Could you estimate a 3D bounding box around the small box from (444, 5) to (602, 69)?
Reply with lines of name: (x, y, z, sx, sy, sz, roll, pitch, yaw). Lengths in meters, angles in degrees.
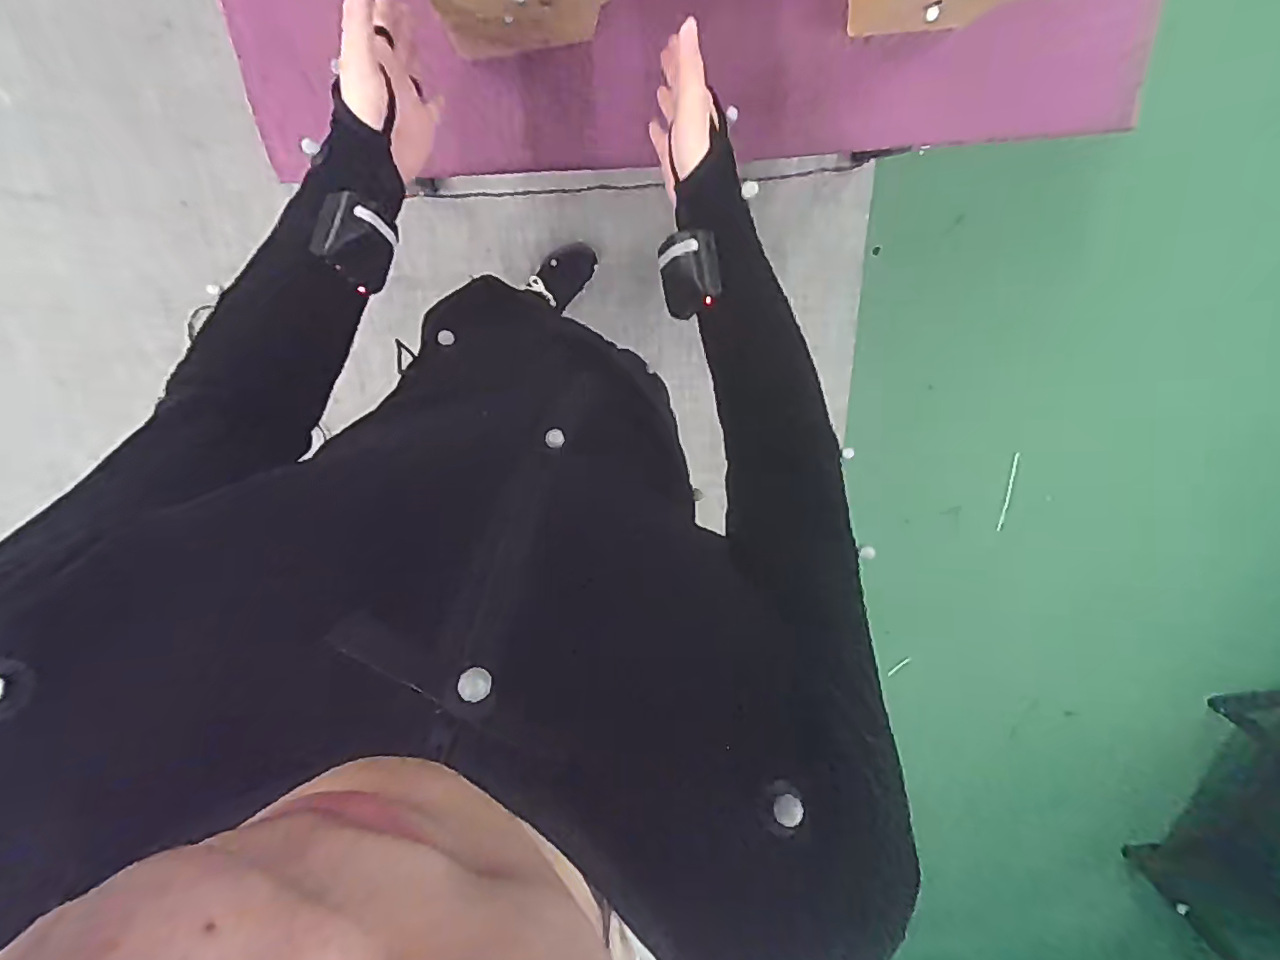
small box: (-0.141, -0.570, 0.567, 0.168, 0.176, 0.179, -12, 115, -3)
